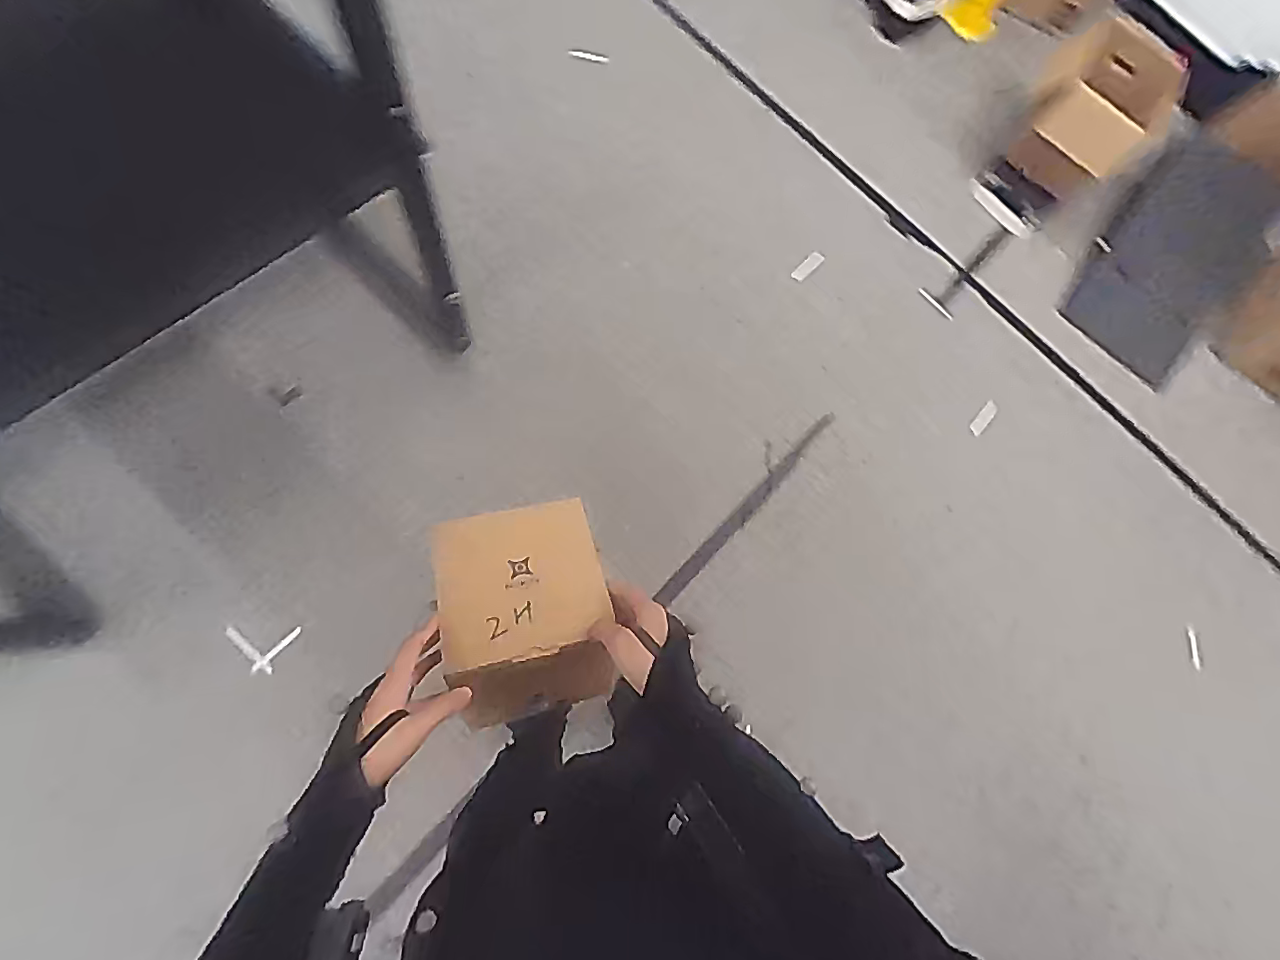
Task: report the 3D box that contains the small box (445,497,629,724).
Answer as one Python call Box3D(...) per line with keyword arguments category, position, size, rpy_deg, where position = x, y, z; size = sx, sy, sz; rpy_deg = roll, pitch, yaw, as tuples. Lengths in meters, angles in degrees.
Box3D(category="small box", position=(-0.118, 0.147, 0.611), size=(0.168, 0.176, 0.179), rpy_deg=(-10, 53, -14))
